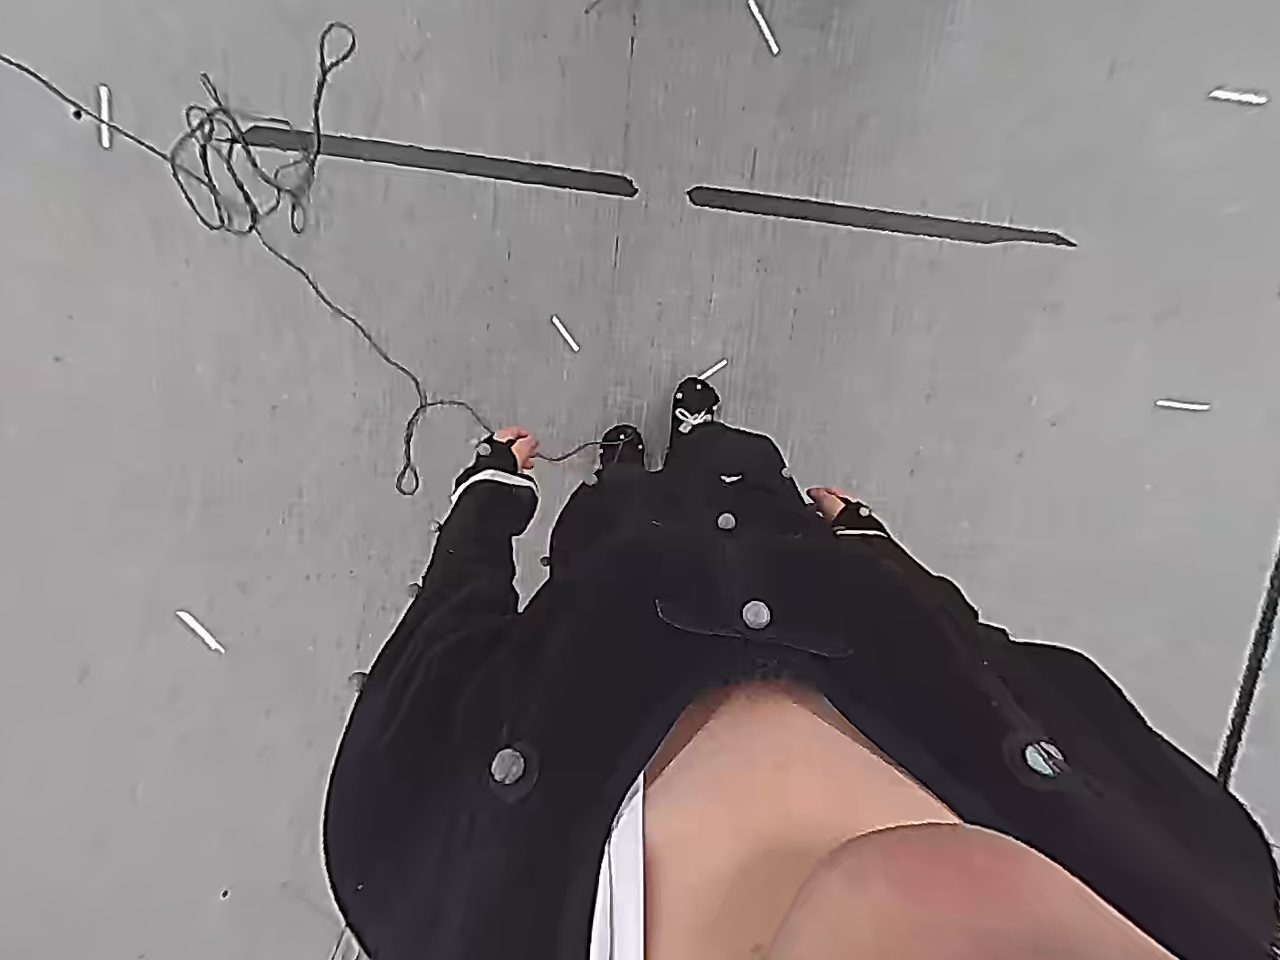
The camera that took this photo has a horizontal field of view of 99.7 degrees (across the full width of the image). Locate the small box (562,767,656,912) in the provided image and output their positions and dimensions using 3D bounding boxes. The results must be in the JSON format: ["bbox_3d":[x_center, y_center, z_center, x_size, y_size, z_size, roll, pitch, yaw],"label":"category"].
[{"bbox_3d":[-0.059,0.683,1.044,0.168,0.176,0.179,1,99,-2],"label":"small box"}]
